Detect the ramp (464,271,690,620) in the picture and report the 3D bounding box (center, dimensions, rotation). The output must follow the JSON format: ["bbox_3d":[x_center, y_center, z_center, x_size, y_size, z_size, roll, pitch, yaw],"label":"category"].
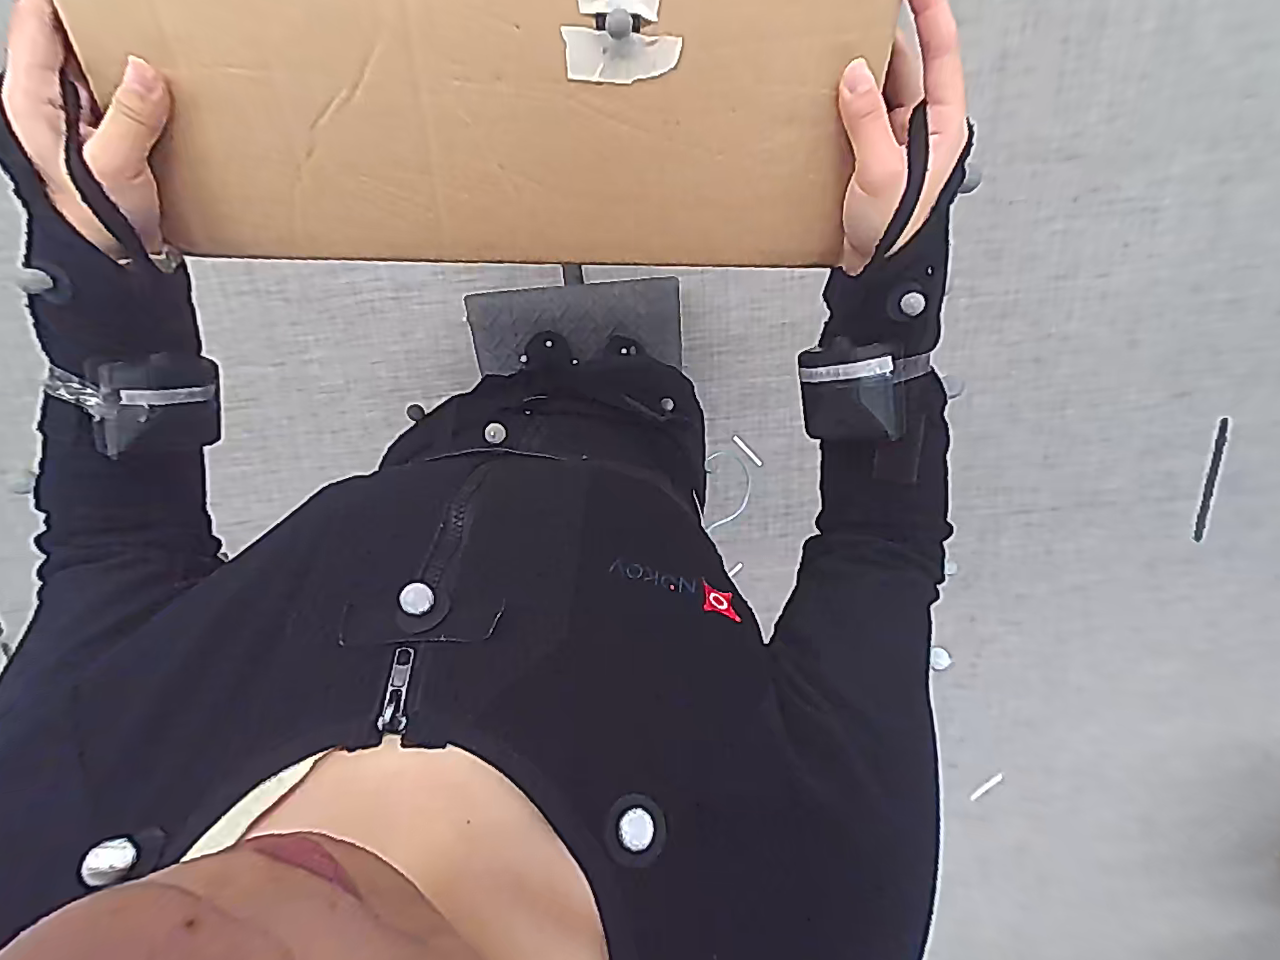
[{"bbox_3d":[-0.118,-0.019,1.454,0.509,0.206,0.991,-7,109,-1],"label":"ramp"}]

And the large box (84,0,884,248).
[{"bbox_3d":[-0.079,-0.353,0.375,0.408,0.320,0.320,0,123,-2],"label":"large box"}]
